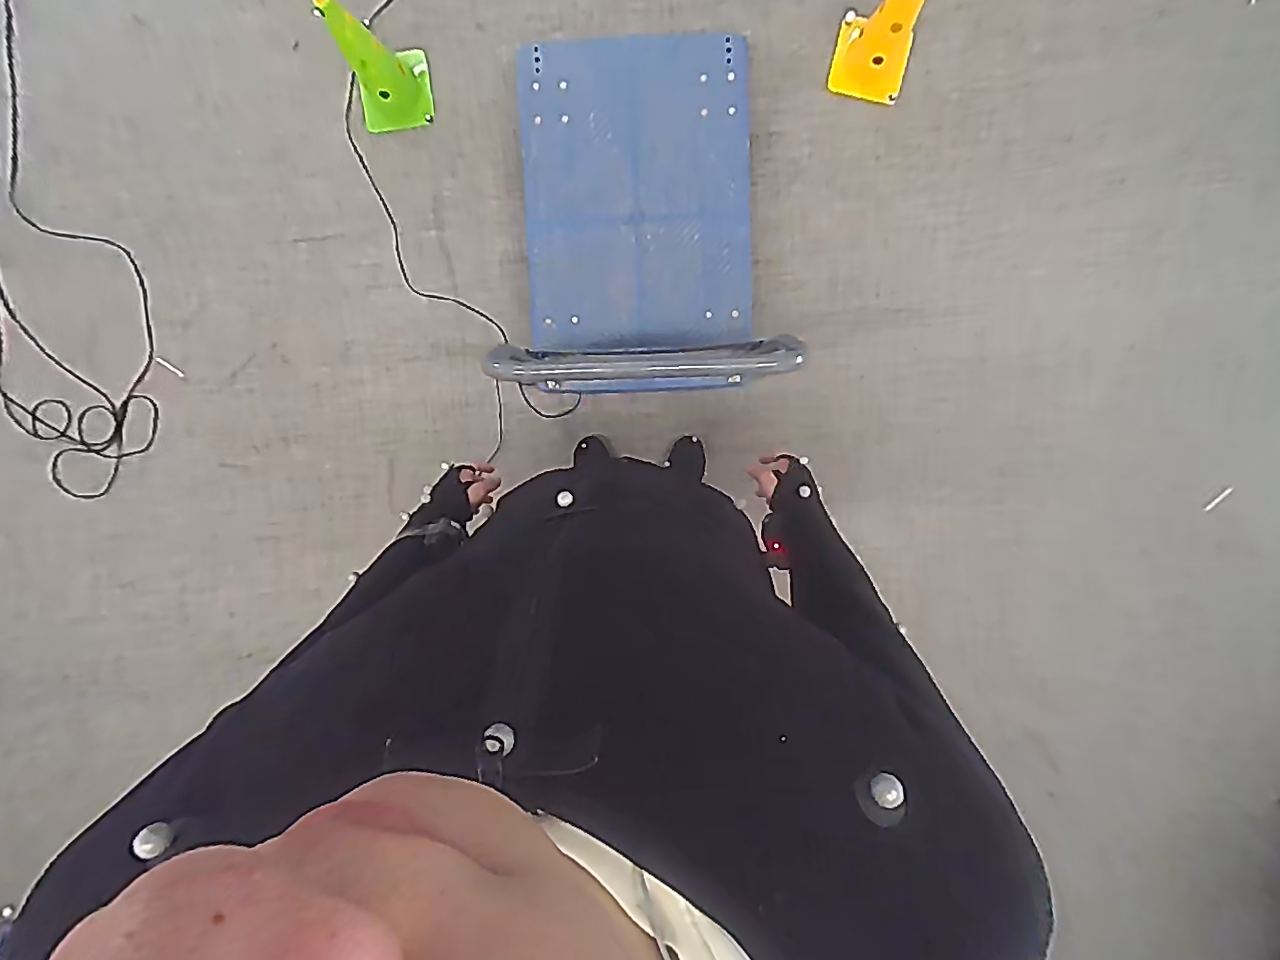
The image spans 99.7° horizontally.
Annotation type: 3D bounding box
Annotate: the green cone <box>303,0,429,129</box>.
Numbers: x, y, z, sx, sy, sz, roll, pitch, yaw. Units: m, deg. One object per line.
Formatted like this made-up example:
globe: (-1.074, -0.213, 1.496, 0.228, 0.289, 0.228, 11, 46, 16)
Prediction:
green cone: (-0.706, -1.080, 1.337, 0.202, 0.368, 0.200, -8, 96, 4)
